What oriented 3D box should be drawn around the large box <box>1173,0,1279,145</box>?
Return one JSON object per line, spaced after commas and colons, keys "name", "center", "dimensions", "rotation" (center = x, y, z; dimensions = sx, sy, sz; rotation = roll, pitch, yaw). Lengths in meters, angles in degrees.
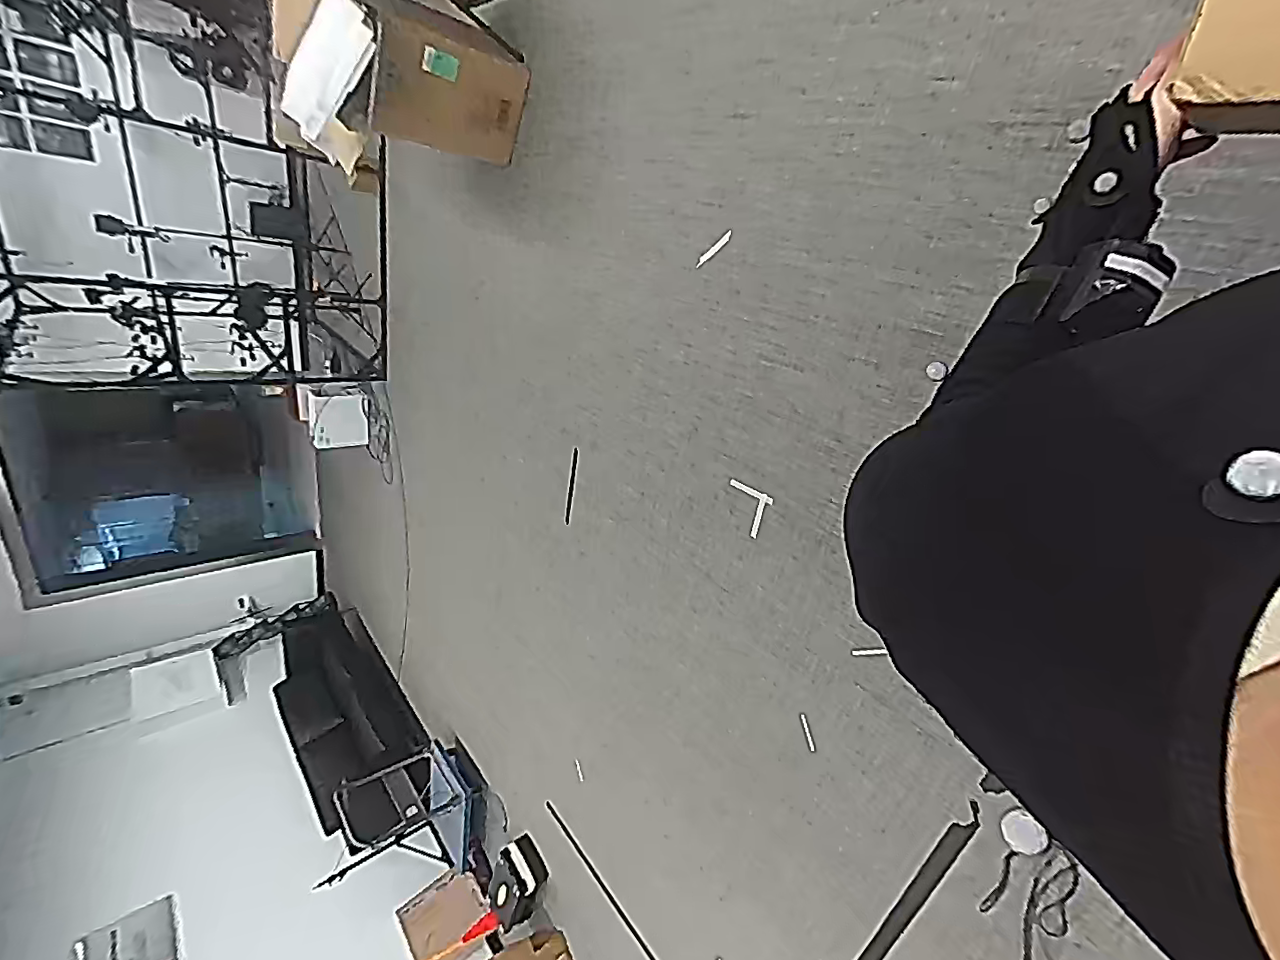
{"name": "large box", "center": [0.468, -0.283, 0.139], "dimensions": [0.408, 0.320, 0.320], "rotation": [24, 128, 36]}
